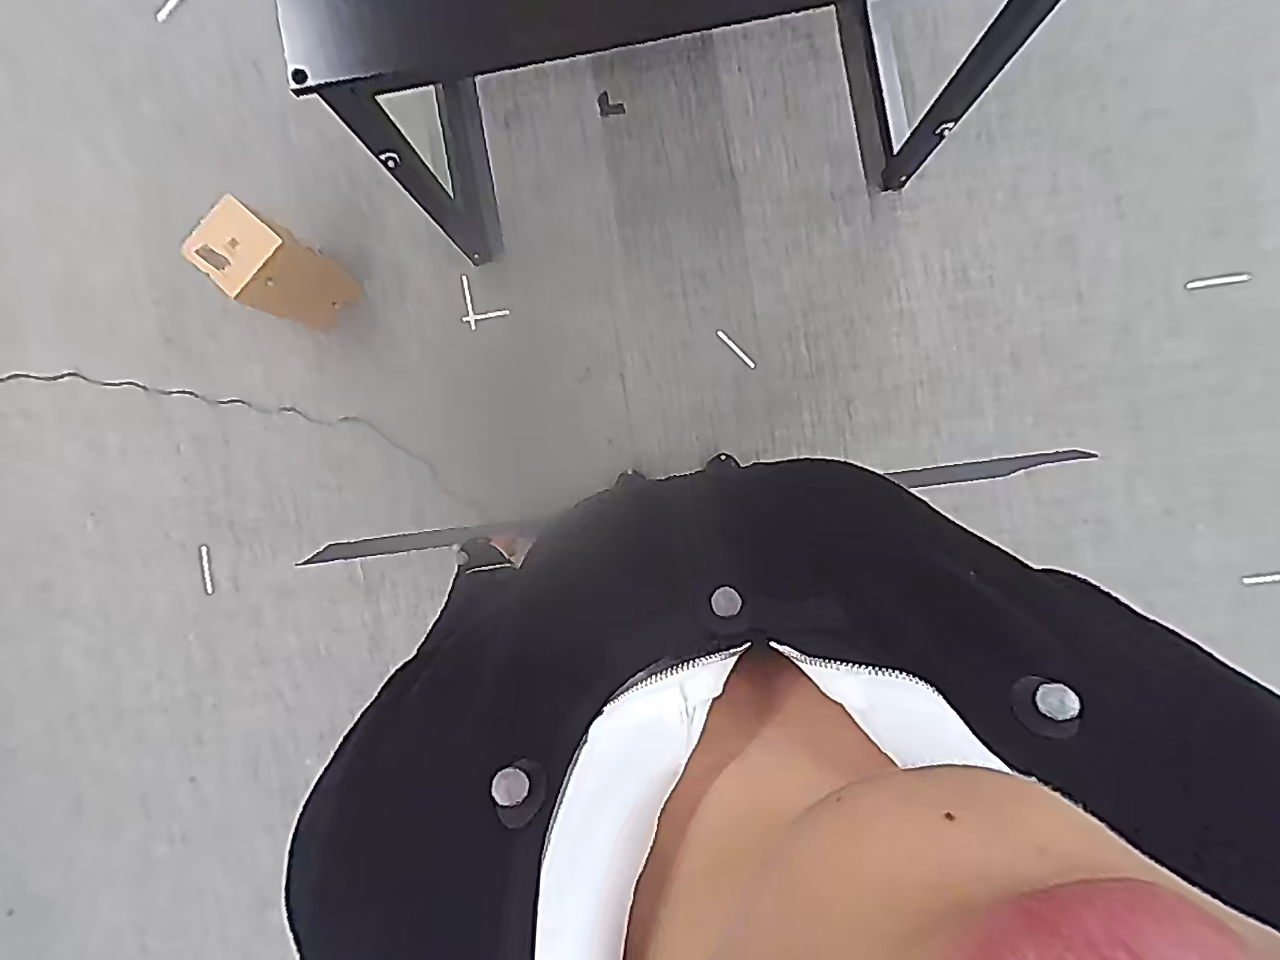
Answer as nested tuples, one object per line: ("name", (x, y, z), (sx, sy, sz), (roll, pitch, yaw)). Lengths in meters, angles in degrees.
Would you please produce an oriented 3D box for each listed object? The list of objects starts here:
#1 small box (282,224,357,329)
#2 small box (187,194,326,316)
("small box", (-0.900, -0.537, 1.451), (0.168, 0.176, 0.179), (40, 92, 1))
("small box", (-0.899, -0.522, 1.286), (0.168, 0.176, 0.179), (42, 92, 1))
